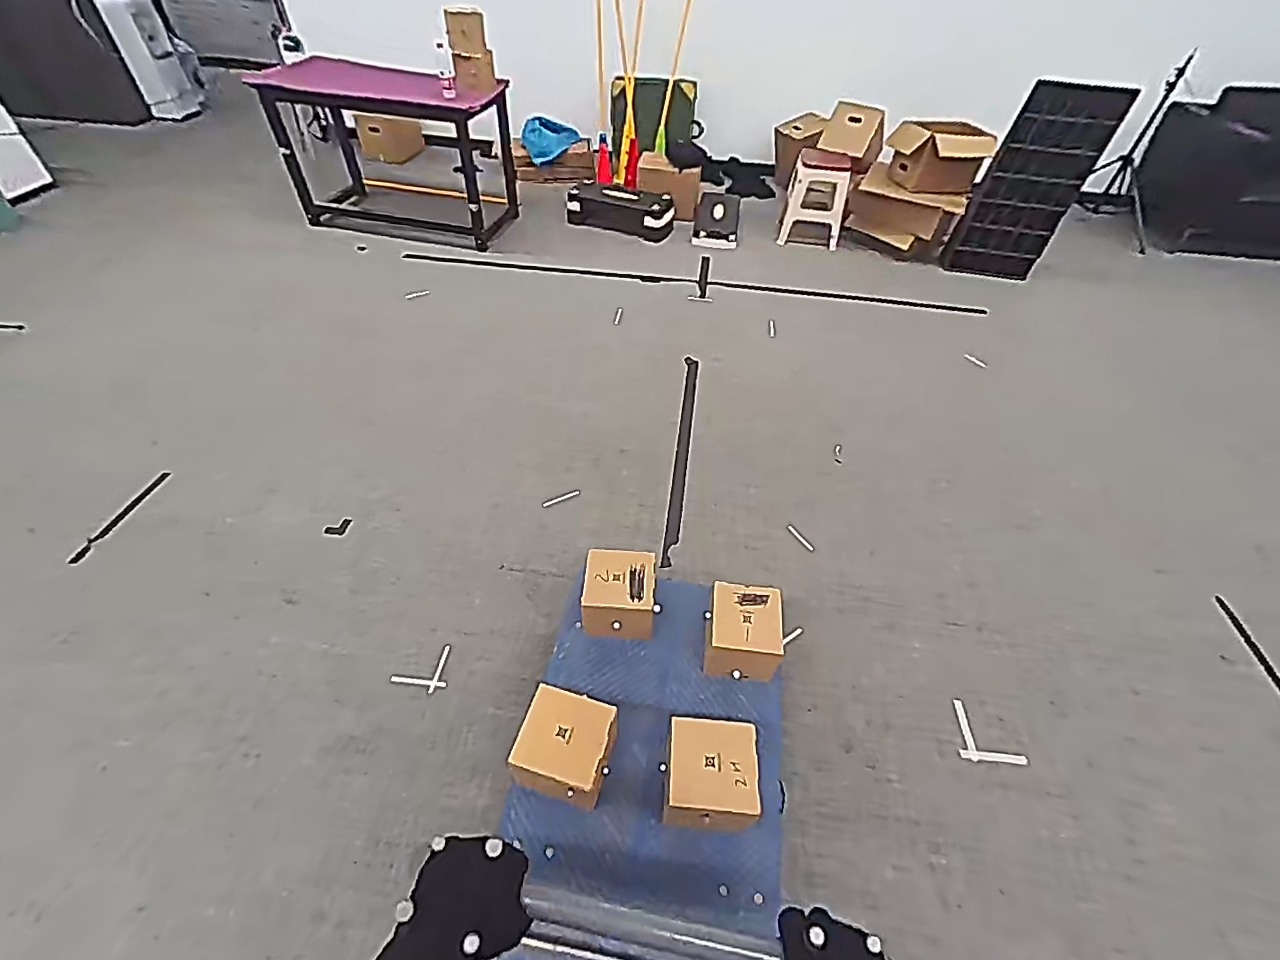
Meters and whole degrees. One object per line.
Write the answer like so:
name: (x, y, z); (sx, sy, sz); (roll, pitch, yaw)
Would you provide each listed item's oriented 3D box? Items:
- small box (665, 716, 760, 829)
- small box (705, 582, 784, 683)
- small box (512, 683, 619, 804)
small box: (0.146, 0.616, 1.134); (0.179, 0.176, 0.168); (5, 47, 2)
small box: (0.257, 0.382, 1.355); (0.168, 0.176, 0.179); (7, 48, 4)
small box: (-0.154, 0.569, 1.162); (0.179, 0.176, 0.168); (15, 48, 8)
